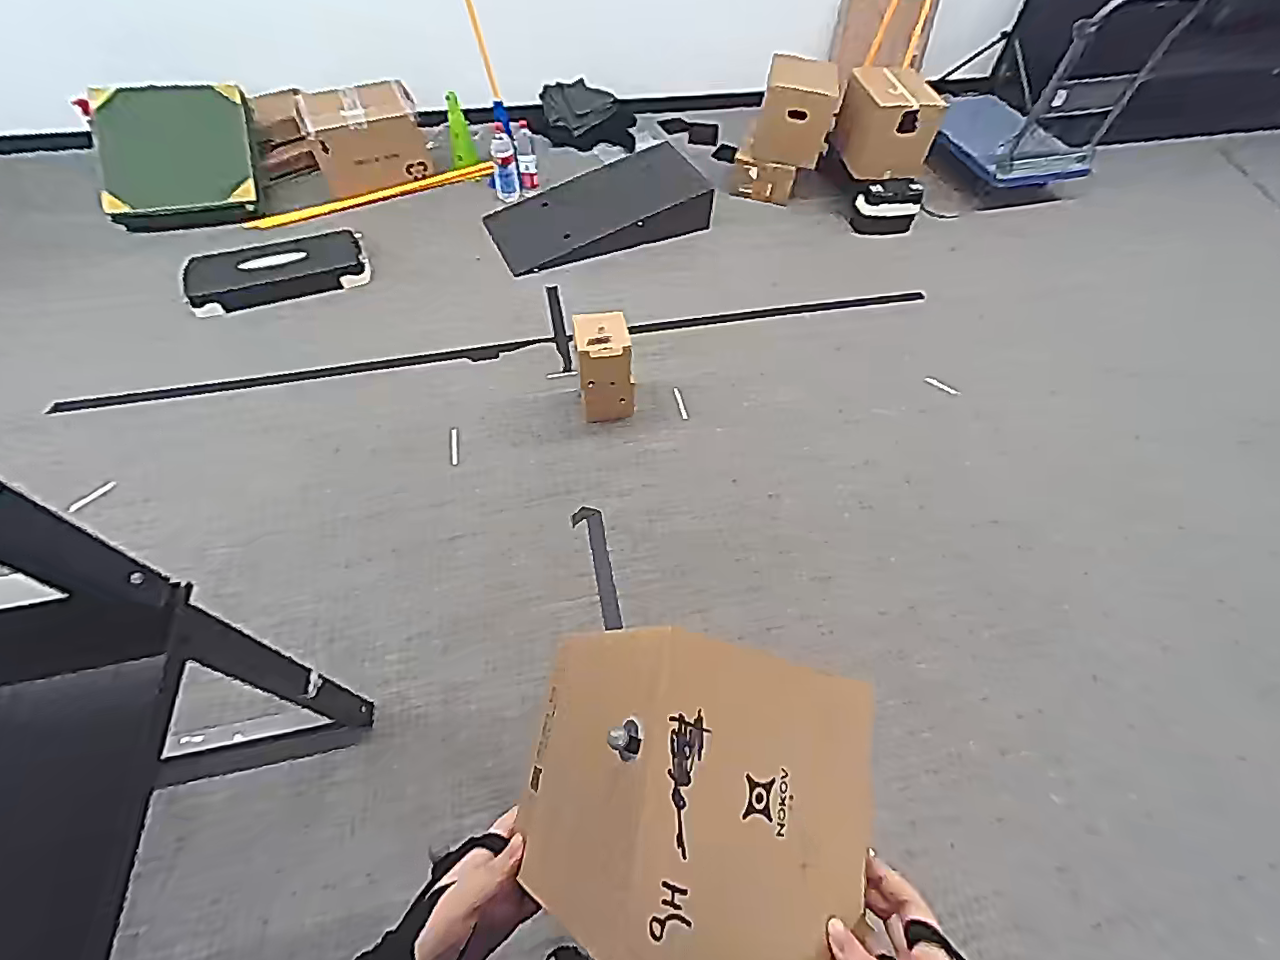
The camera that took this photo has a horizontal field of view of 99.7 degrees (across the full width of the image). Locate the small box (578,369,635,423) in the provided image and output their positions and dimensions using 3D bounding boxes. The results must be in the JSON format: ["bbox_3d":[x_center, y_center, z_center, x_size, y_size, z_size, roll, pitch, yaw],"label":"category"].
[{"bbox_3d":[-0.121,-0.320,1.879,0.179,0.176,0.168,-10,56,-9],"label":"small box"}]

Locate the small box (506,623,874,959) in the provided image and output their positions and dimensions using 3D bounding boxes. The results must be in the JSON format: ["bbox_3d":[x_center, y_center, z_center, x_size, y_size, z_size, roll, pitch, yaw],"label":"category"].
[{"bbox_3d":[0.033,0.206,0.376,0.179,0.176,0.168,25,61,-24],"label":"small box"}]

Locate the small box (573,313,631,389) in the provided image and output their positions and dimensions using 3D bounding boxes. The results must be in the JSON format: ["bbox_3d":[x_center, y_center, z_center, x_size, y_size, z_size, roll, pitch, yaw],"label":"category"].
[{"bbox_3d":[-0.123,-0.409,1.741,0.168,0.176,0.179,-7,55,-8],"label":"small box"}]
